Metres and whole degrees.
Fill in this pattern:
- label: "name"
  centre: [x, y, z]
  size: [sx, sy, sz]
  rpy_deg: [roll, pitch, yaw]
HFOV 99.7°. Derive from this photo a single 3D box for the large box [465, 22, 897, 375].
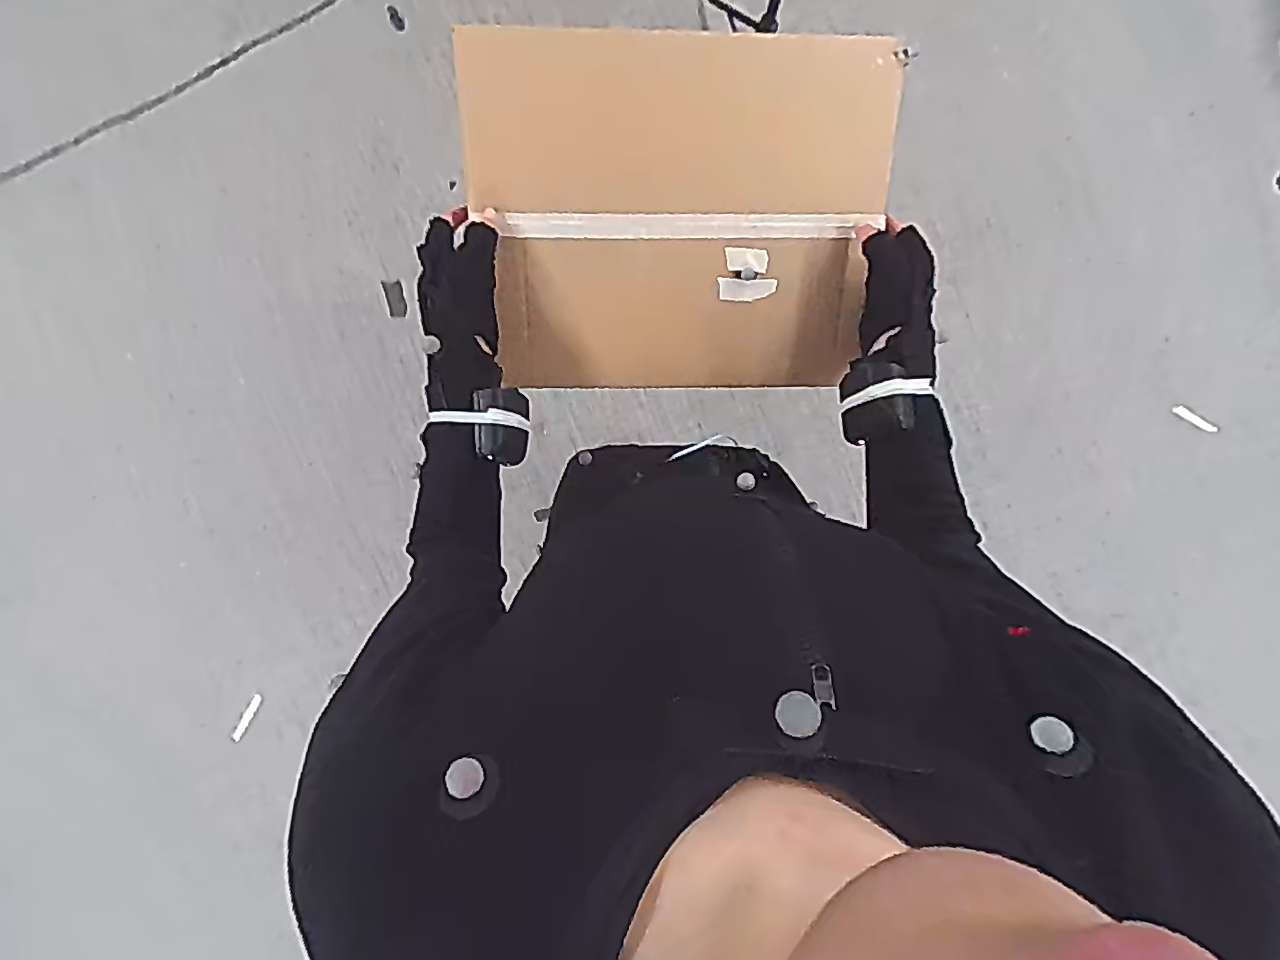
- label: "large box"
  centre: [0.031, -0.305, 0.675]
  size: [0.408, 0.320, 0.320]
  rpy_deg: [0, 108, -3]
